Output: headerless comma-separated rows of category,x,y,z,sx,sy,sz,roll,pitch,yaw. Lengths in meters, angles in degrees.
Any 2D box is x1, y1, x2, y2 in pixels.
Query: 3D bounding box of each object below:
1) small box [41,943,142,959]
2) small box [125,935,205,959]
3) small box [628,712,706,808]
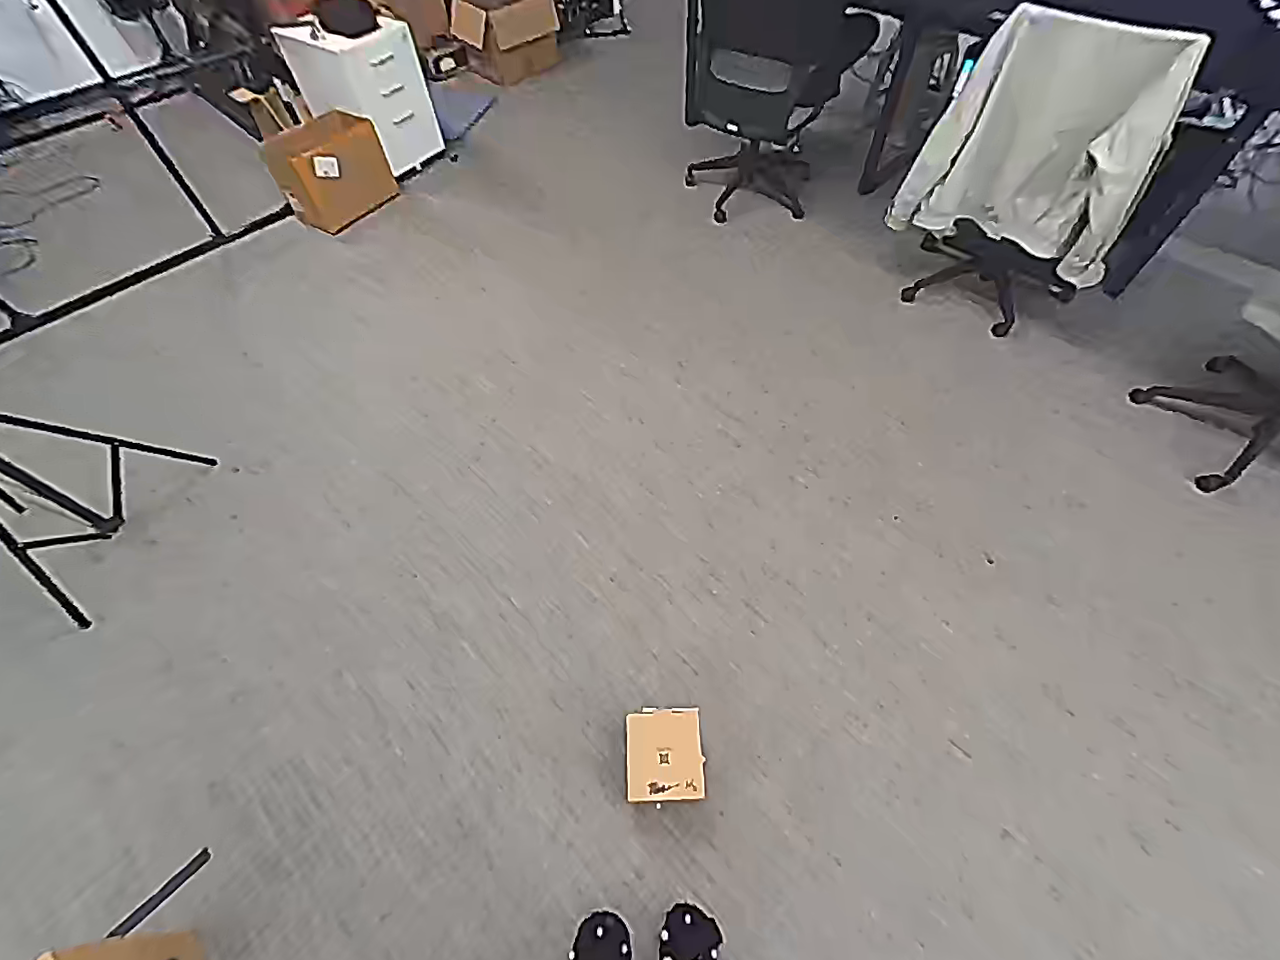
small box,-0.962,0.923,0.900,0.179,0.176,0.168,35,63,24
small box,-0.960,1.019,1.034,0.179,0.176,0.168,33,62,24
small box,0.056,0.645,1.244,0.168,0.176,0.179,-2,55,0
